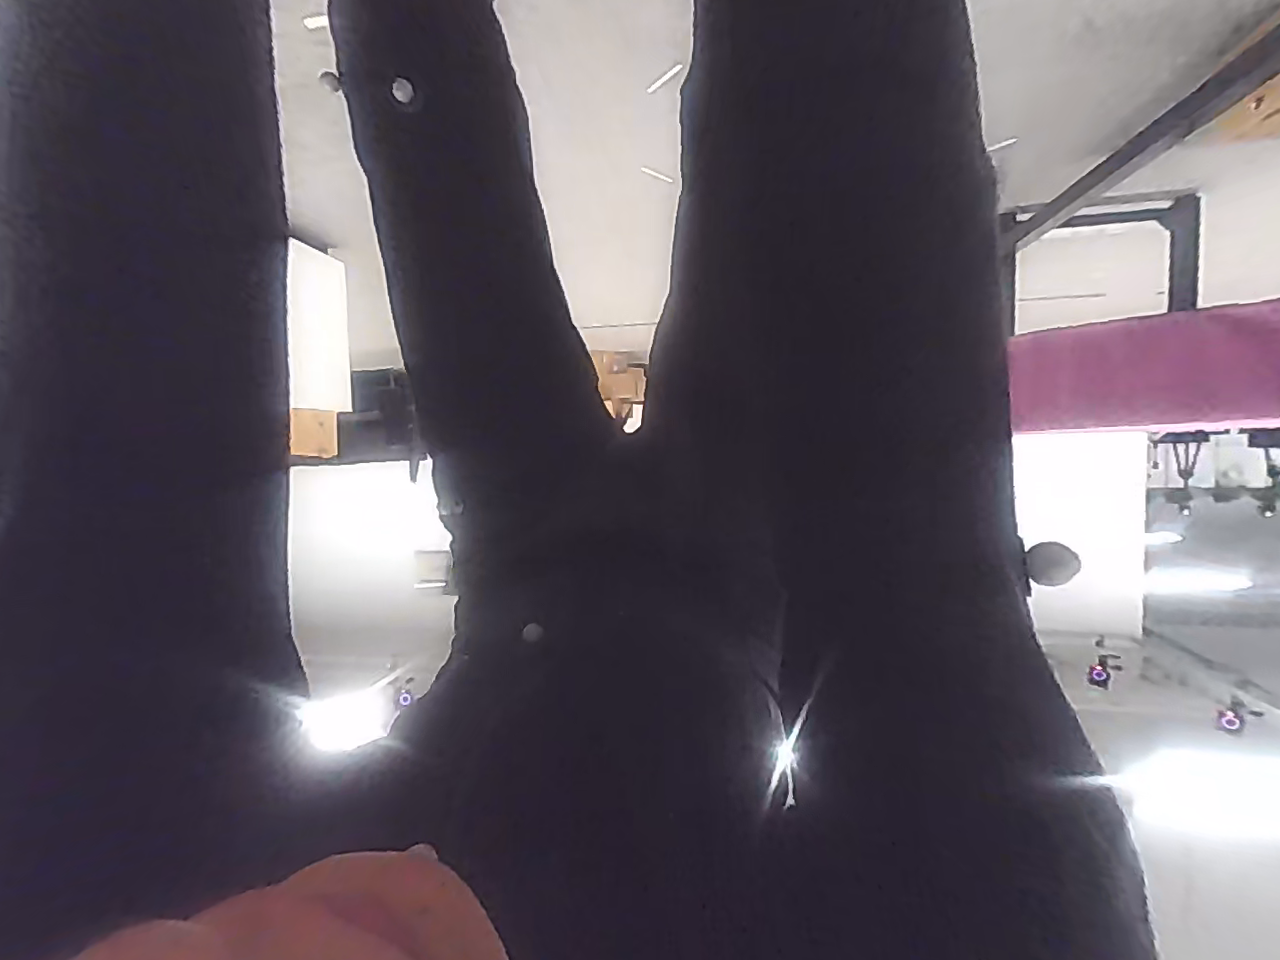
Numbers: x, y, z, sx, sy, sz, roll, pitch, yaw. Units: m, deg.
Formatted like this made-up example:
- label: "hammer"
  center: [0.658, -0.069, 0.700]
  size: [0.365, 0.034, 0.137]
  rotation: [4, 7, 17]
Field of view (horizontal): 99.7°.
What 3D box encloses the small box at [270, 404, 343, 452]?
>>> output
- label: "small box"
  center: [-1.232, -0.190, 2.002]
  size: [0.179, 0.176, 0.168]
  rotation: [0, -176, 10]
